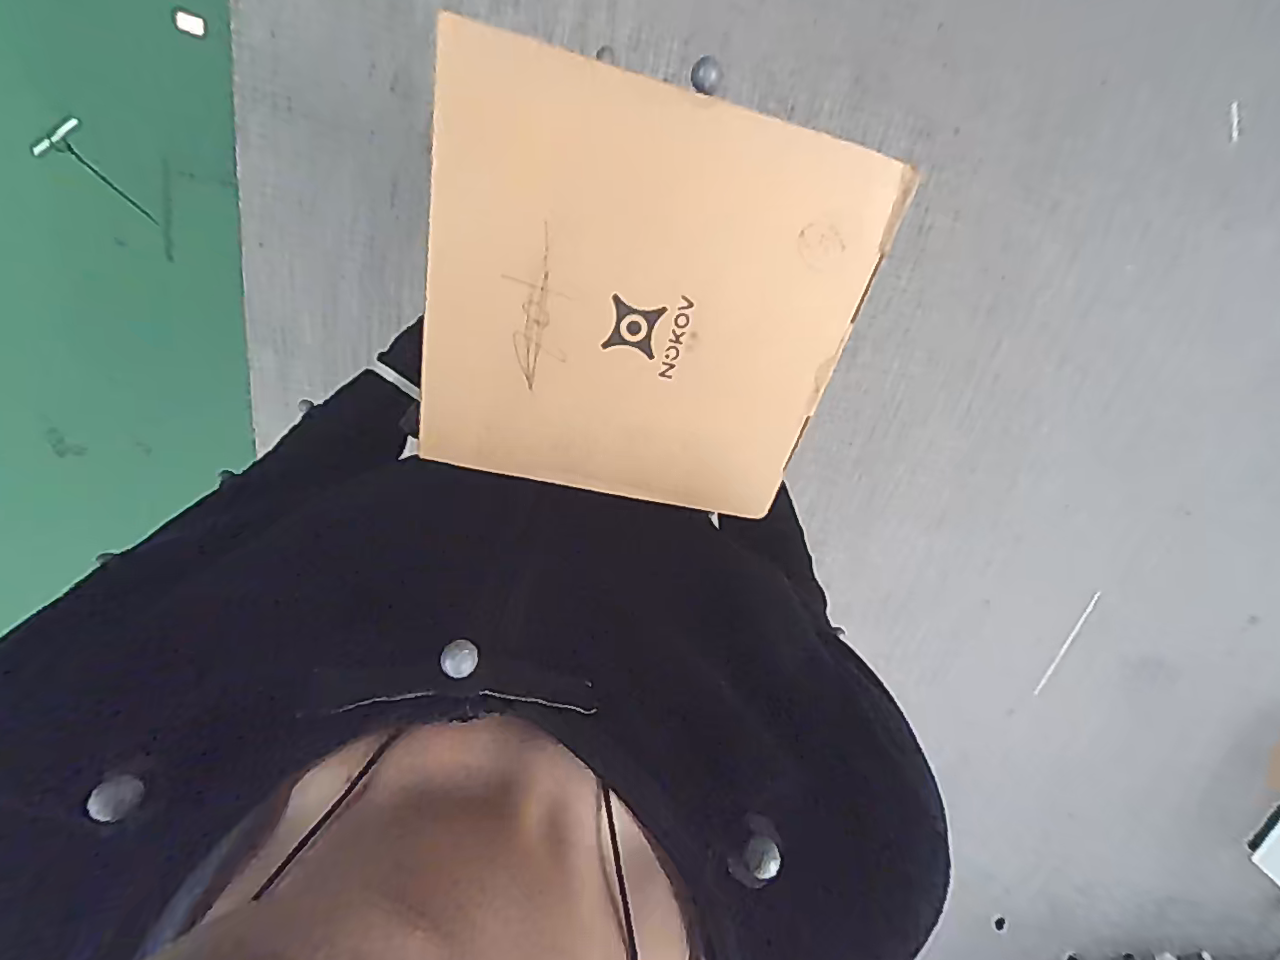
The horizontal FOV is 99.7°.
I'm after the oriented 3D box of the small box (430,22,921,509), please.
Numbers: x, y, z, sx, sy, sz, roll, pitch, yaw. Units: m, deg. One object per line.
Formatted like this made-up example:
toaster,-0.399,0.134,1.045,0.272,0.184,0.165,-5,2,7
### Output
small box,0.001,-0.110,0.297,0.179,0.176,0.168,11,121,-9
